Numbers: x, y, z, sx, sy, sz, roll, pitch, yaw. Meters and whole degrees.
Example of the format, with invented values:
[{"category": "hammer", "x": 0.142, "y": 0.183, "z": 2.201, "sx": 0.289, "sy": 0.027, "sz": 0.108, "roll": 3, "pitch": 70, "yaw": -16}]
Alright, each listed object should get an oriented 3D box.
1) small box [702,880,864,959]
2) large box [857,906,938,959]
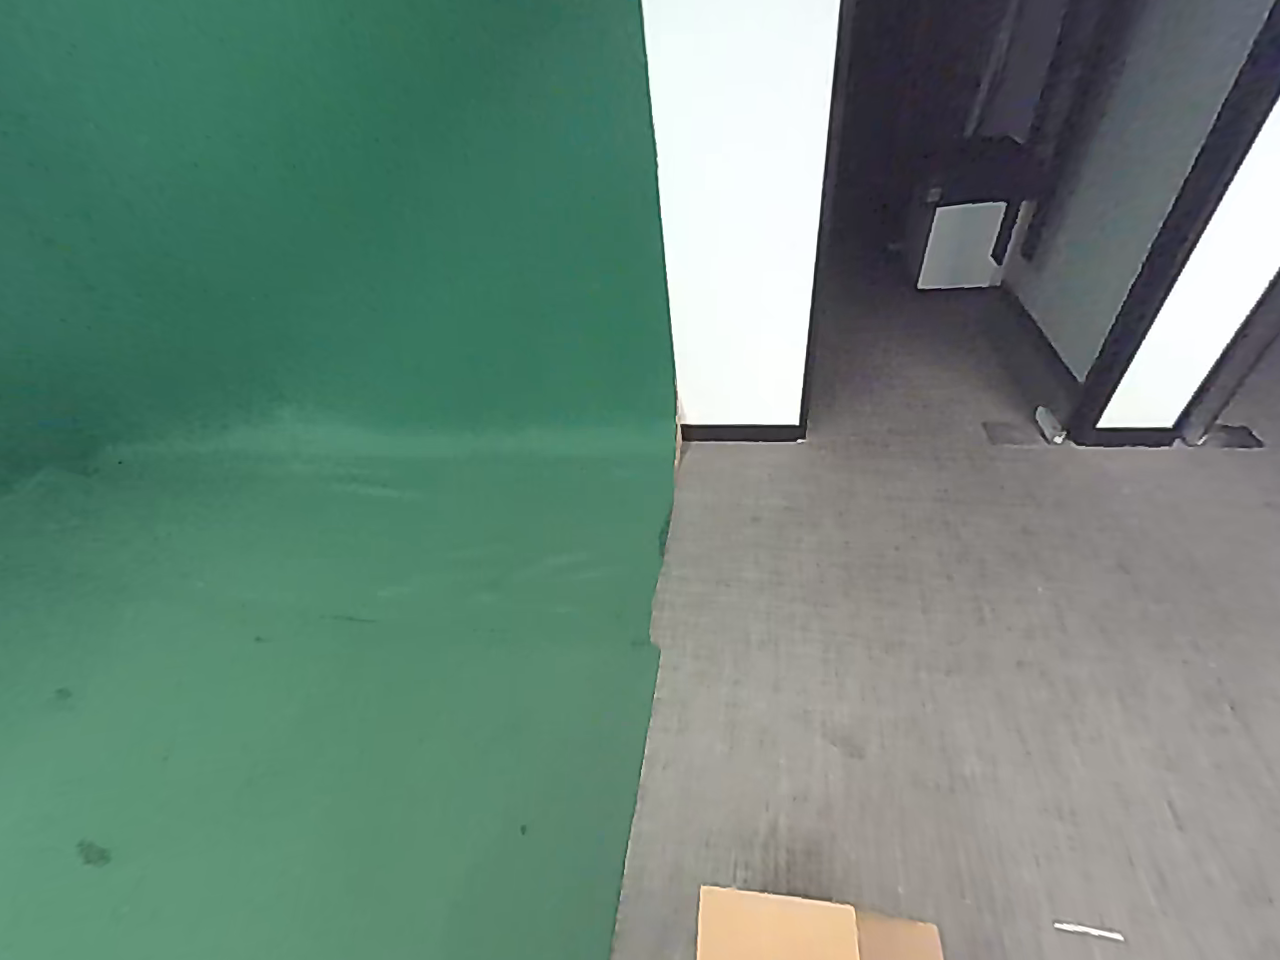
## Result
[{"category": "small box", "x": 0.154, "y": 0.569, "z": 0.587, "sx": 0.168, "sy": 0.176, "sz": 0.179, "roll": -2, "pitch": 44, "yaw": 13}, {"category": "large box", "x": 0.285, "y": 0.906, "z": 0.801, "sx": 0.320, "sy": 0.320, "sz": 0.408, "roll": 0, "pitch": 42, "yaw": 12}]
